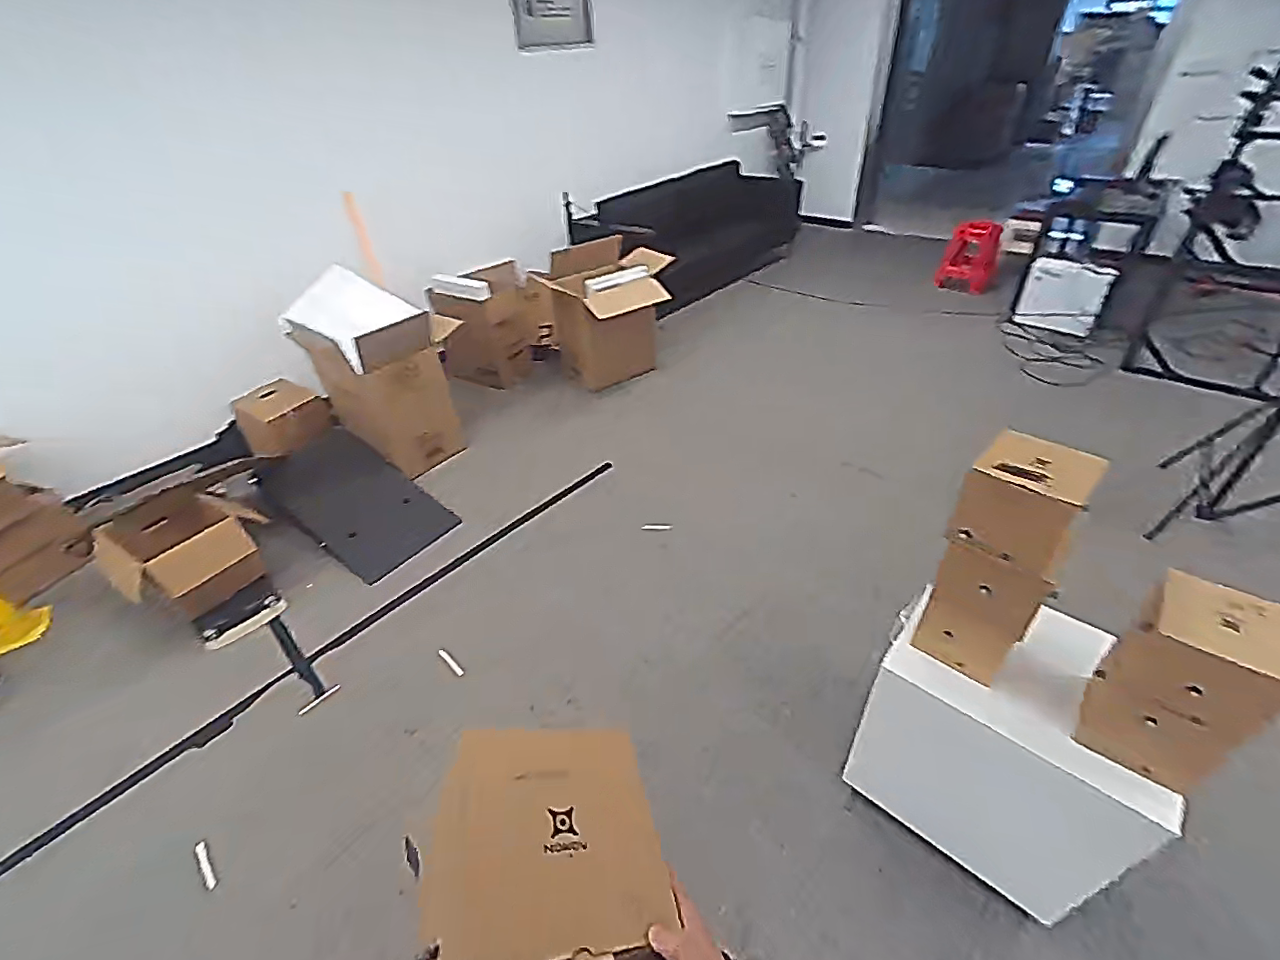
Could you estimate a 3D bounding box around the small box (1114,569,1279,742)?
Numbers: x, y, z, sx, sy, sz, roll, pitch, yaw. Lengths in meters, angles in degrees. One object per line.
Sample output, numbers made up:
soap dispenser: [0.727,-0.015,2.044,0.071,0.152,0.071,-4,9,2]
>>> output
small box: [0.925,0.287,0.891,0.168,0.176,0.179,25,46,34]

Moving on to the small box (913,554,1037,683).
small box: [0.717,0.301,1.172,0.168,0.176,0.179,28,47,34]

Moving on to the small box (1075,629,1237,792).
small box: [0.936,0.419,0.990,0.168,0.176,0.179,24,45,34]

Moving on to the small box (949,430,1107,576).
small box: [0.687,0.040,0.974,0.179,0.176,0.168,-32,45,-32]
